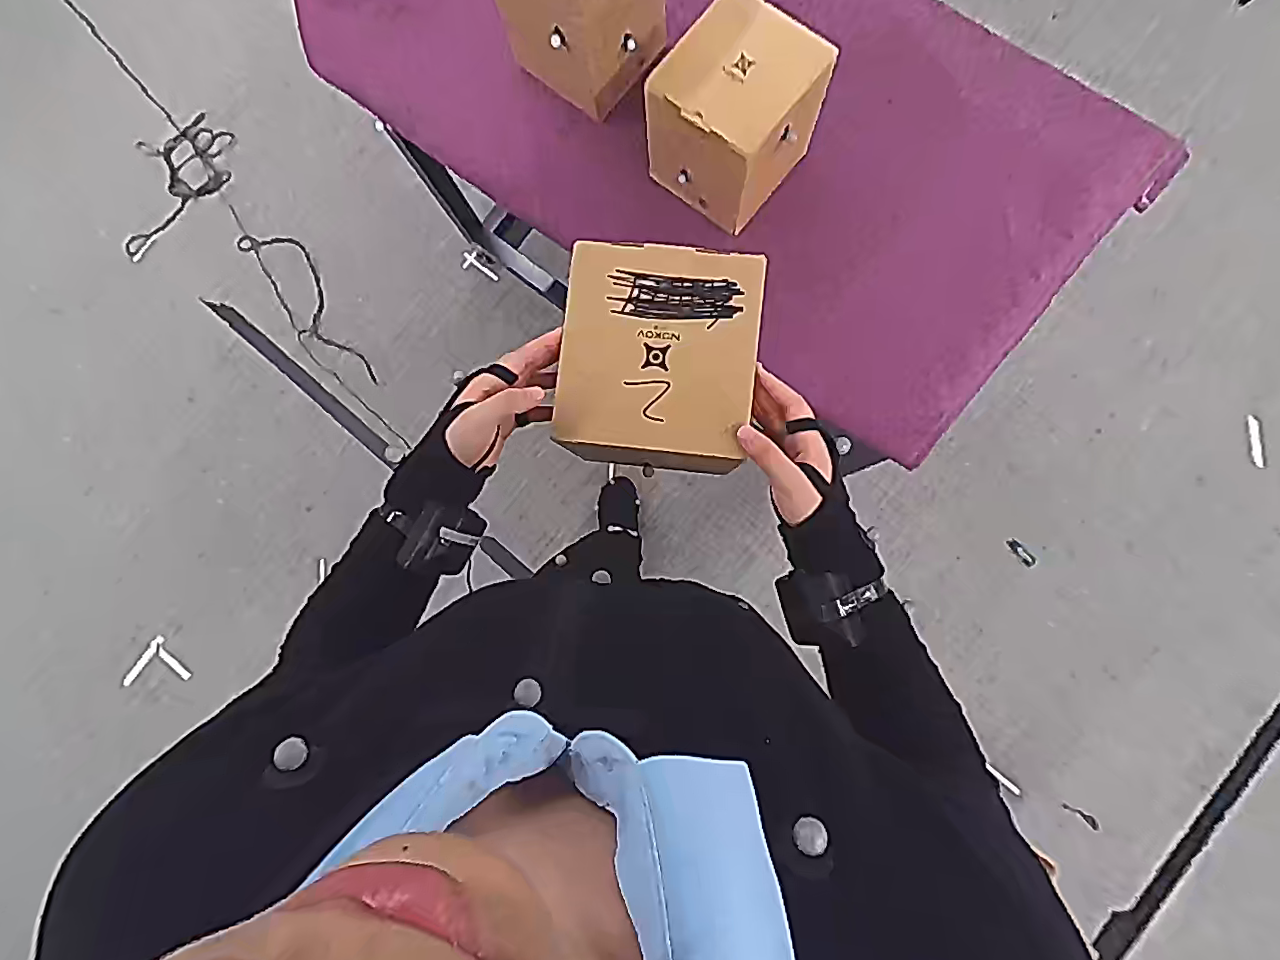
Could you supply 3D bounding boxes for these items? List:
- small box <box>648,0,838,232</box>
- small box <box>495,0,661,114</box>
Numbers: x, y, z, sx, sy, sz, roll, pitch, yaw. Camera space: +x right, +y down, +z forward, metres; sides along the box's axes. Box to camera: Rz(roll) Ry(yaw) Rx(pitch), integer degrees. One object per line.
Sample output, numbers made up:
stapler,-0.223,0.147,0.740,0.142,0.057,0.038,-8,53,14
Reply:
small box,0.127,-0.485,0.731,0.168,0.176,0.179,39,88,7
small box,-0.082,-0.671,0.765,0.179,0.176,0.168,39,88,7
